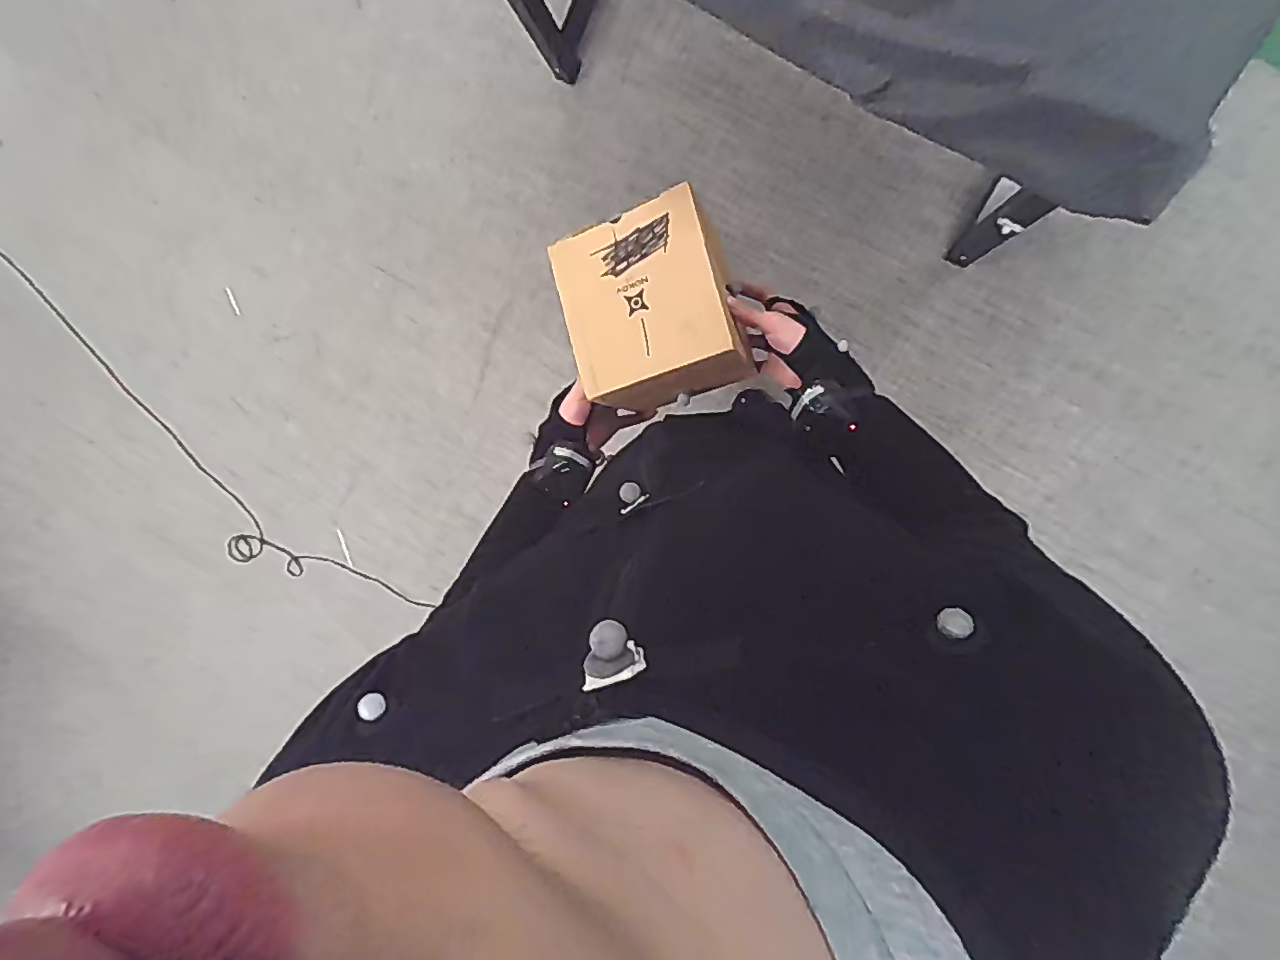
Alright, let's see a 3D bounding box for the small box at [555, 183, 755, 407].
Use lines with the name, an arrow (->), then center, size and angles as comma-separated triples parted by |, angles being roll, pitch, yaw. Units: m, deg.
small box -> 0.026, -0.196, 0.630 | 0.168, 0.176, 0.179 | -15, 87, 20
